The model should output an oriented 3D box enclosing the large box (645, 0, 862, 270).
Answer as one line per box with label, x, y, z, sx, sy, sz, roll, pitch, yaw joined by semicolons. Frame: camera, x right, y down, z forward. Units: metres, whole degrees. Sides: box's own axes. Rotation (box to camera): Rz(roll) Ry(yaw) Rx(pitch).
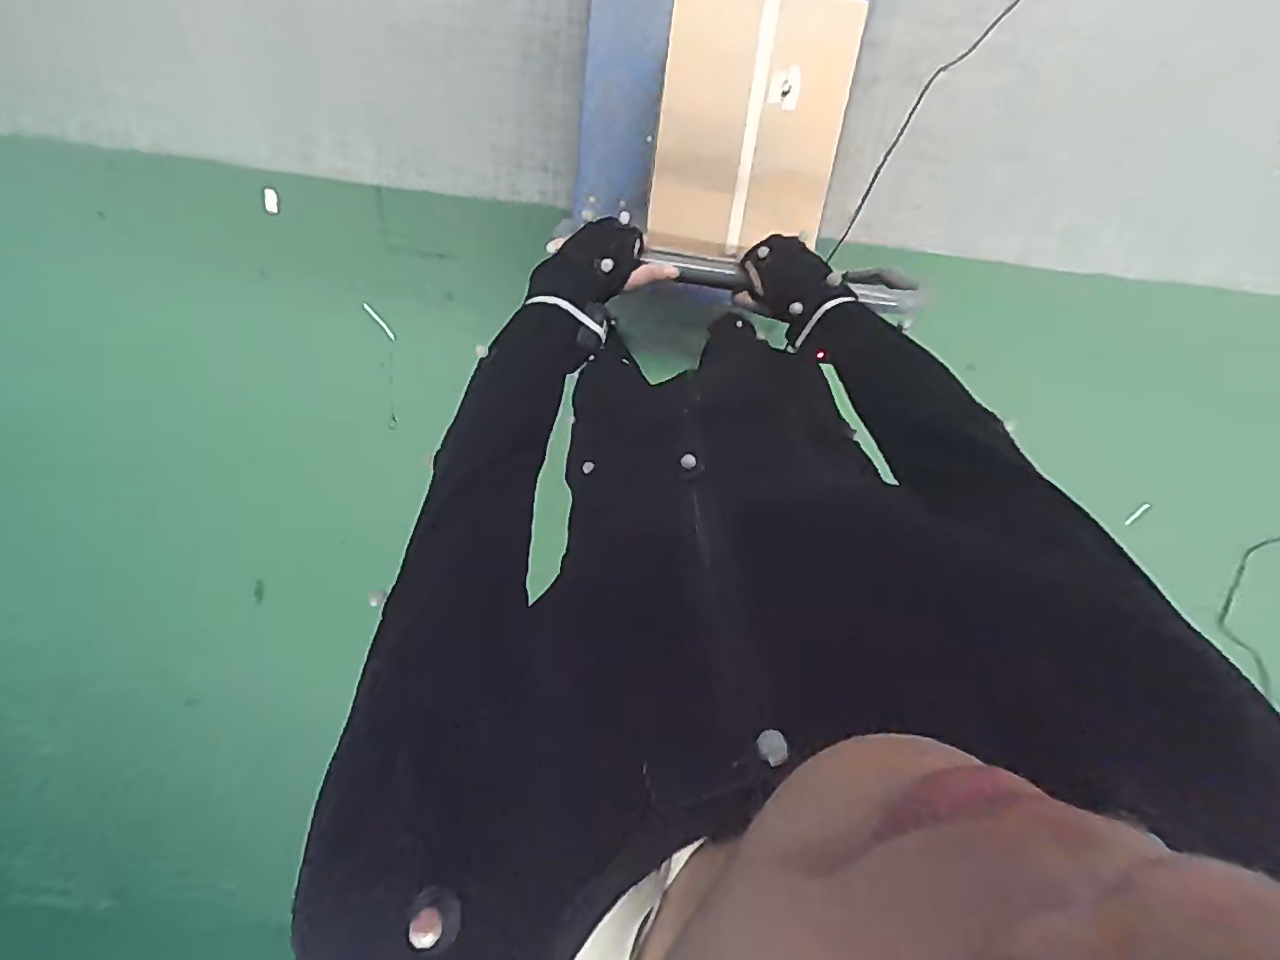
large box;0.182;-0.643;1.061;0.320;0.320;0.408;7;110;-4
